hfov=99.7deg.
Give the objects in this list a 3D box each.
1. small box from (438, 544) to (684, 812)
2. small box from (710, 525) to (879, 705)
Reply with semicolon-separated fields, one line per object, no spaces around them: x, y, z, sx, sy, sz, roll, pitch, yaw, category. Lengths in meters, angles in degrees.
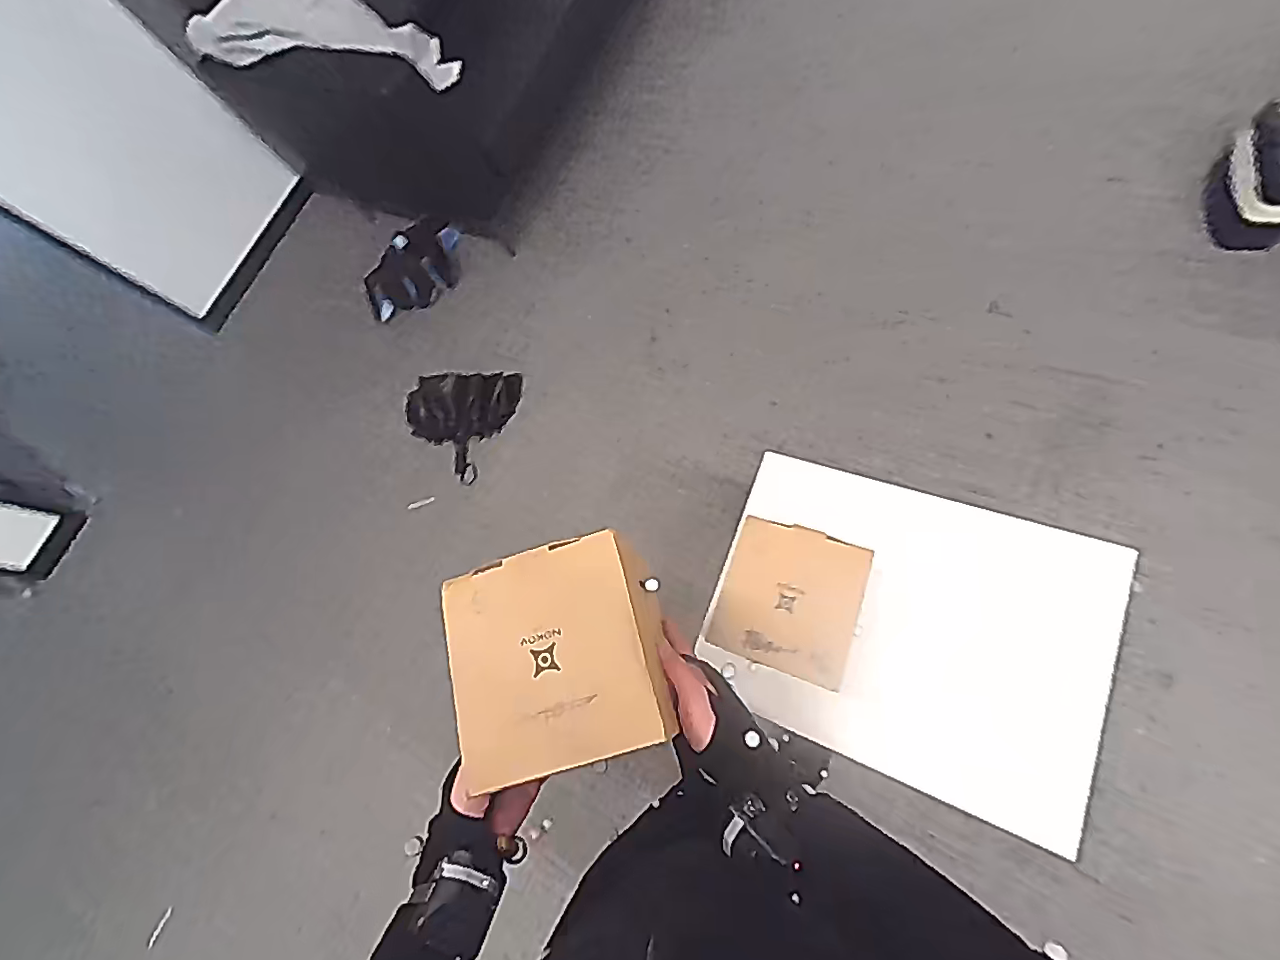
-0.066;0.183;0.513;0.168;0.176;0.179;-19;68;5;small box
0.210;0.185;0.737;0.168;0.176;0.179;16;76;22;small box
